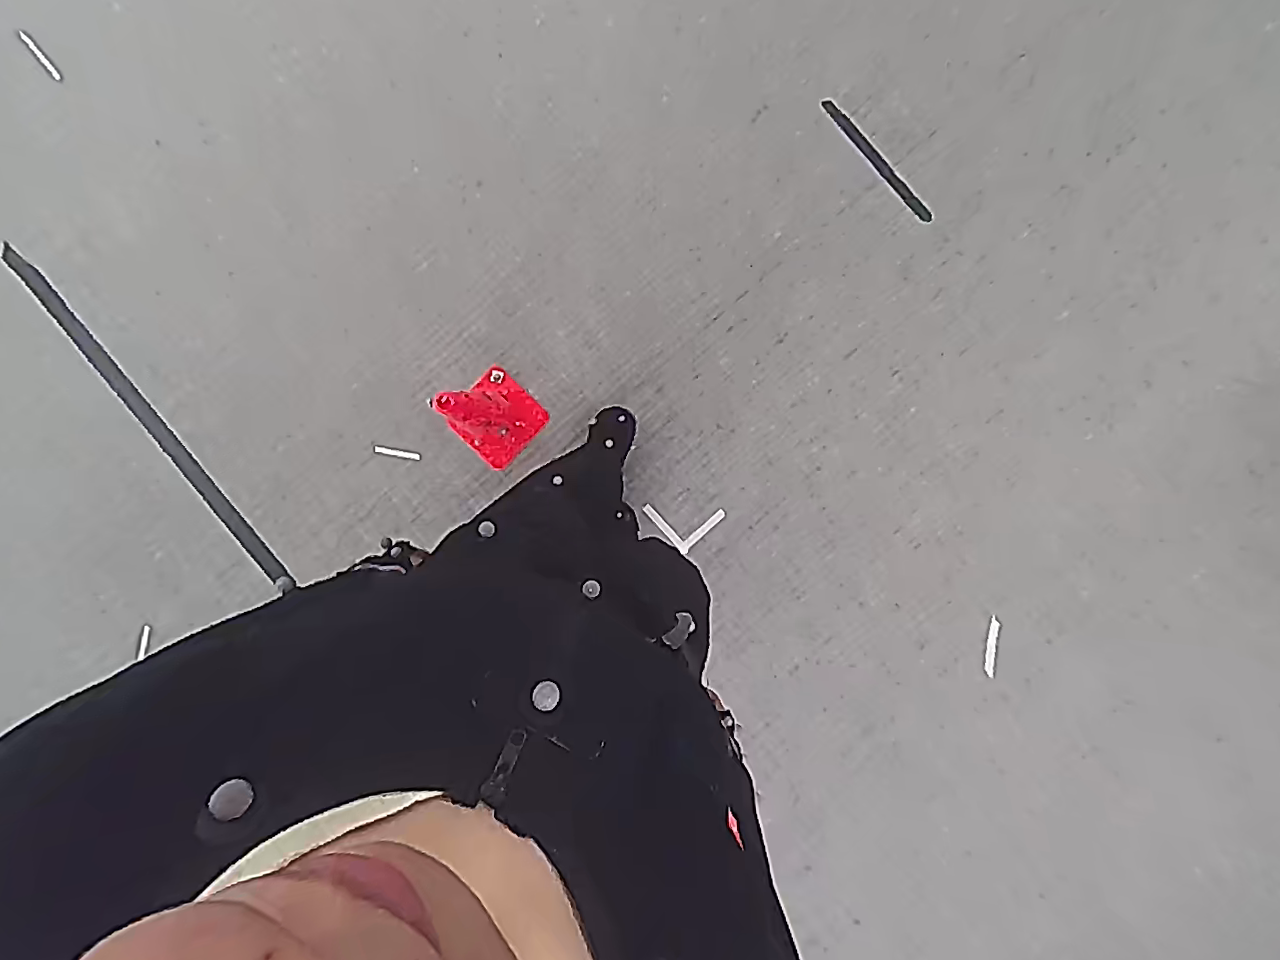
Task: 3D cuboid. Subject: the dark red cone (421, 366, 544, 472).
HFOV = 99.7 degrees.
[{"bbox_3d":[-0.366,-0.140,1.154,0.202,0.394,0.201,43,94,0],"label":"dark red cone"}]
